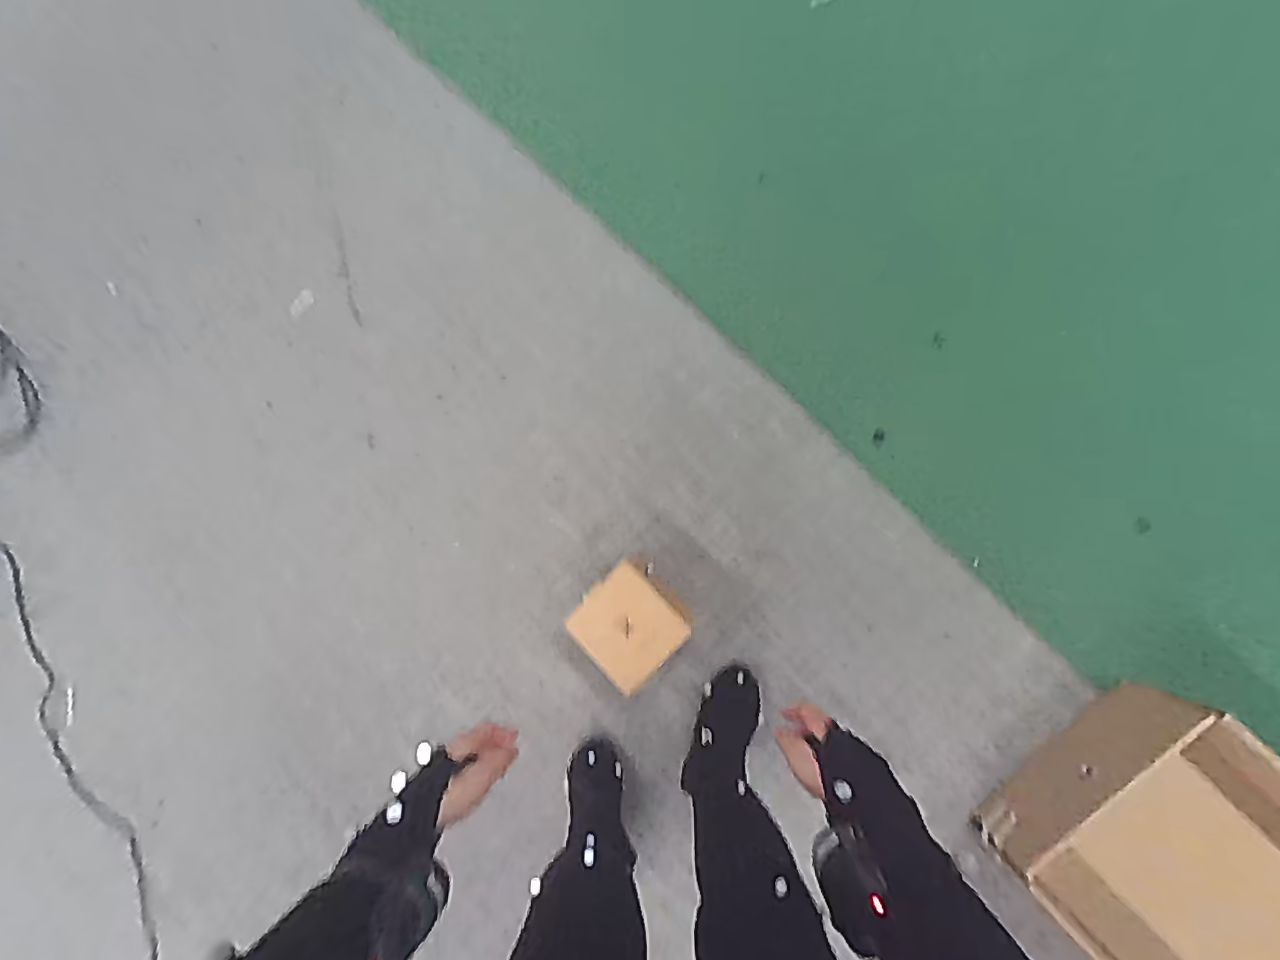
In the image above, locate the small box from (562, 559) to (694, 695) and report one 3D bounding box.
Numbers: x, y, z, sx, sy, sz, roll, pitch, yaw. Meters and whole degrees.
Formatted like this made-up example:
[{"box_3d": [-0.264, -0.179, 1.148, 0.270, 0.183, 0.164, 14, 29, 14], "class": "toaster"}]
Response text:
[{"box_3d": [-0.015, 0.266, 1.027, 0.179, 0.176, 0.168, 44, 94, 7], "class": "small box"}]
